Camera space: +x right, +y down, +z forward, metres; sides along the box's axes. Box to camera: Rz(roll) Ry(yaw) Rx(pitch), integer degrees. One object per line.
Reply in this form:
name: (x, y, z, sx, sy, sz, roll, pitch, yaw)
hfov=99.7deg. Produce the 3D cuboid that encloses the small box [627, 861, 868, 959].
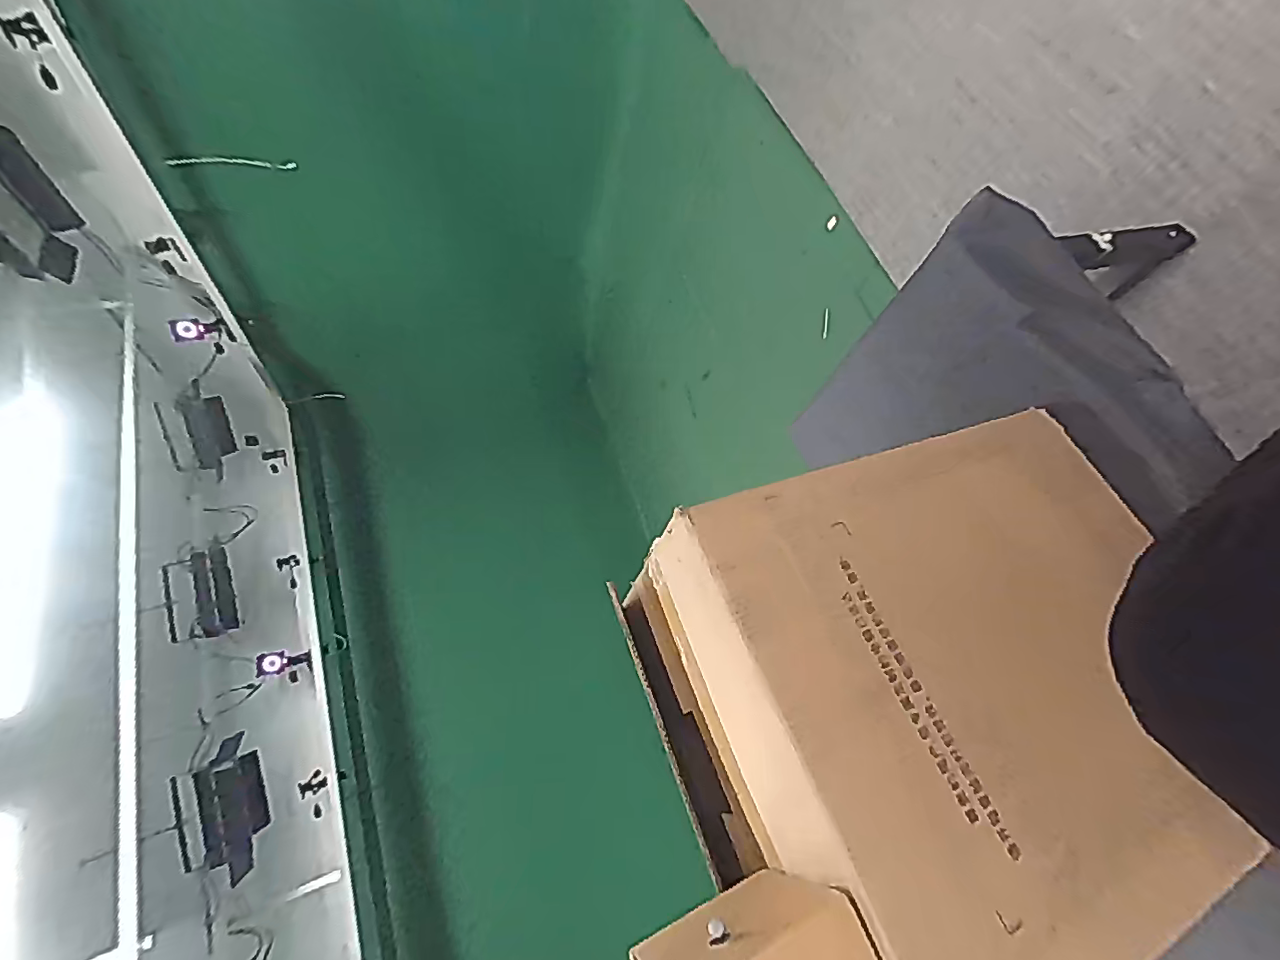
small box: (0.109, 0.474, 0.483, 0.179, 0.176, 0.168, 113, 139, -58)
